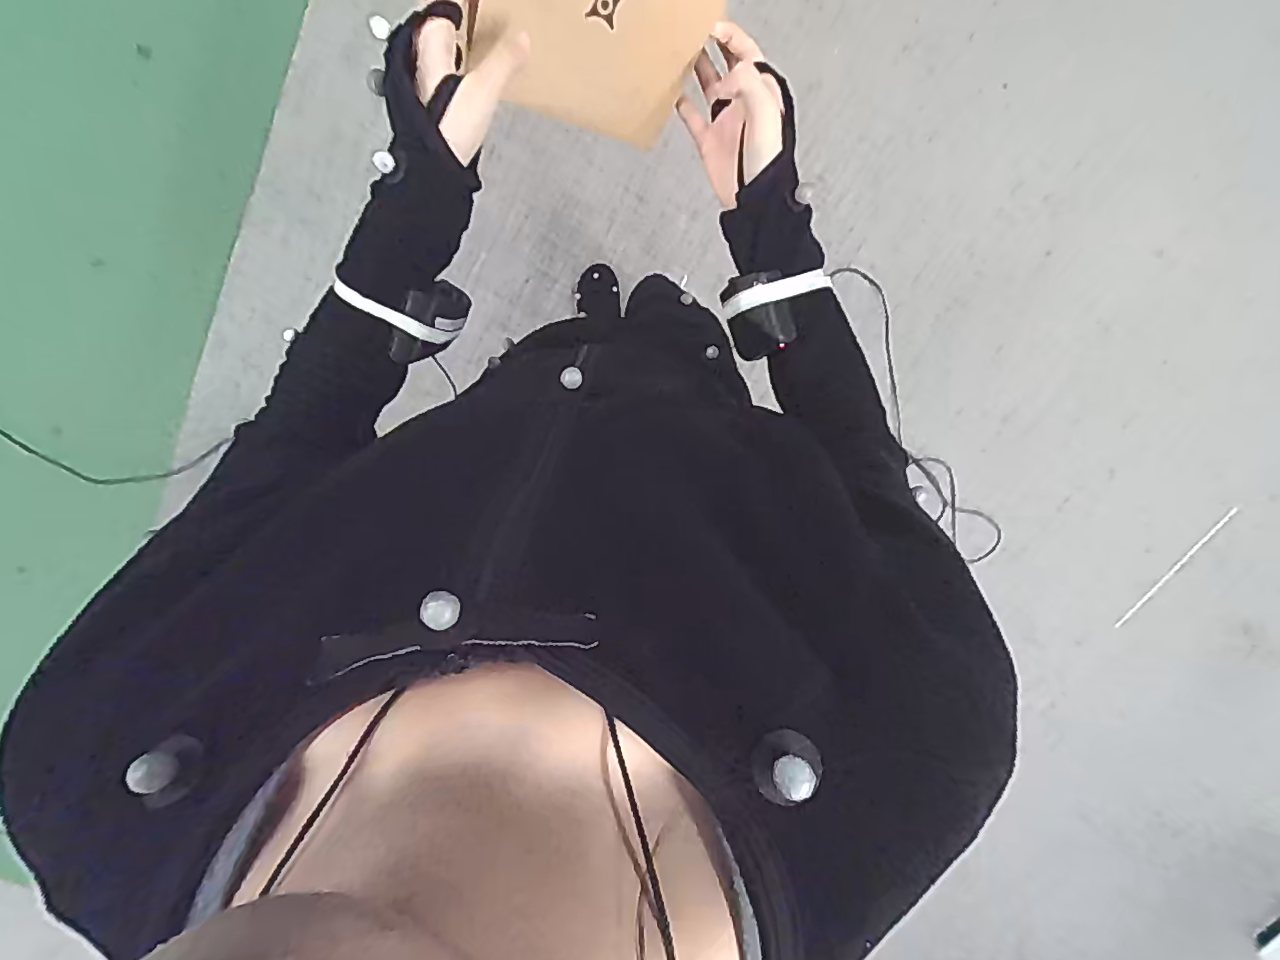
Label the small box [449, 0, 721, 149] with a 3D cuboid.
[{"bbox_3d":[-0.045,-0.404,0.408,0.168,0.176,0.179,0,149,-31],"label":"small box"}]
